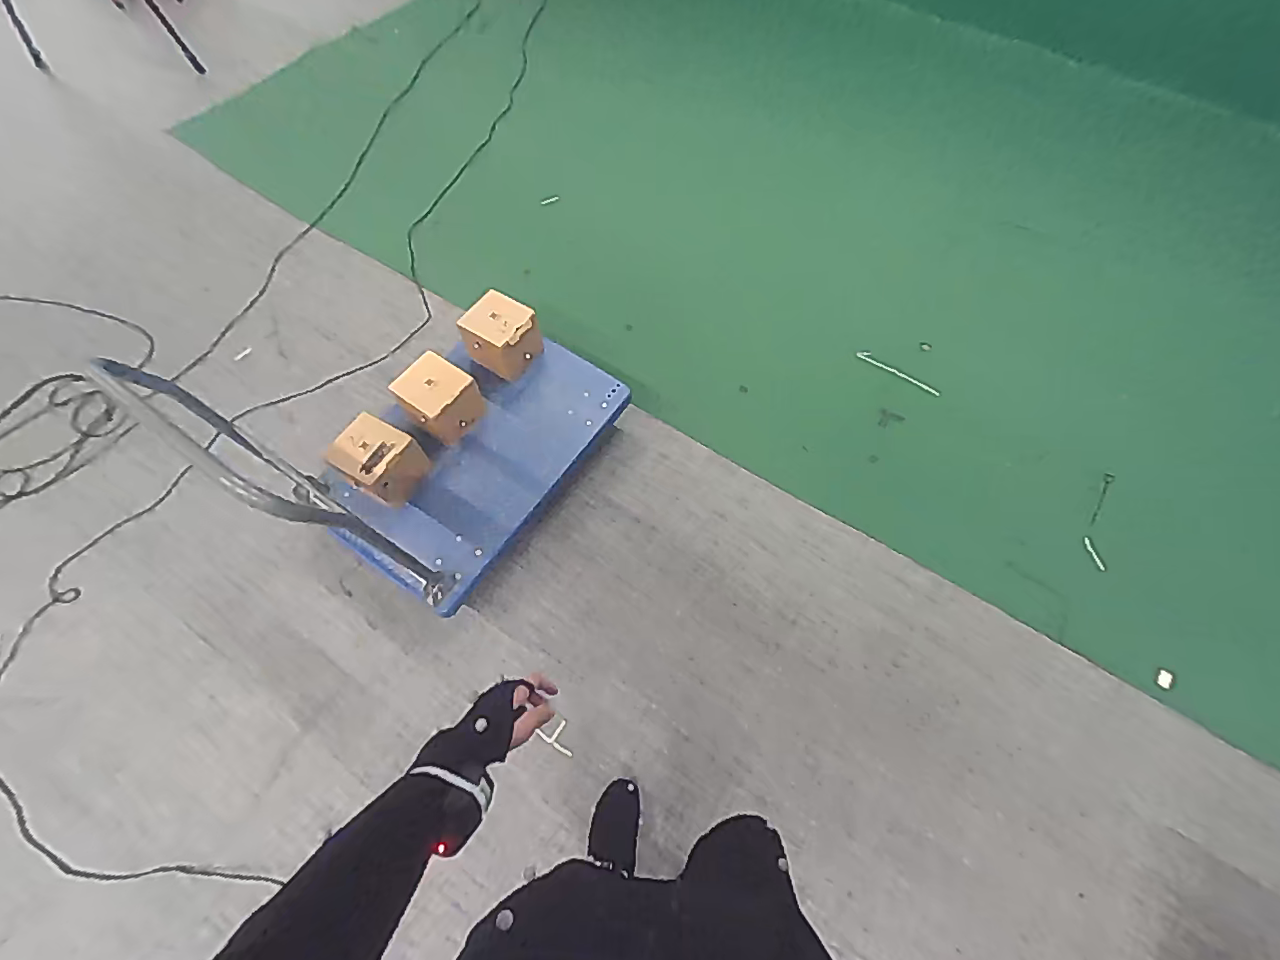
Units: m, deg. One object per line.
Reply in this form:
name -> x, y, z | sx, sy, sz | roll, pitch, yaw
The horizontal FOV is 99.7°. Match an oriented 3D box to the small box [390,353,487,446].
small box -> -0.576, -0.226, 1.568 | 0.179, 0.176, 0.168 | 33, 67, 13

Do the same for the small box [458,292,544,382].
small box -> -0.423, -0.434, 1.667 | 0.179, 0.176, 0.168 | 38, 72, 15
